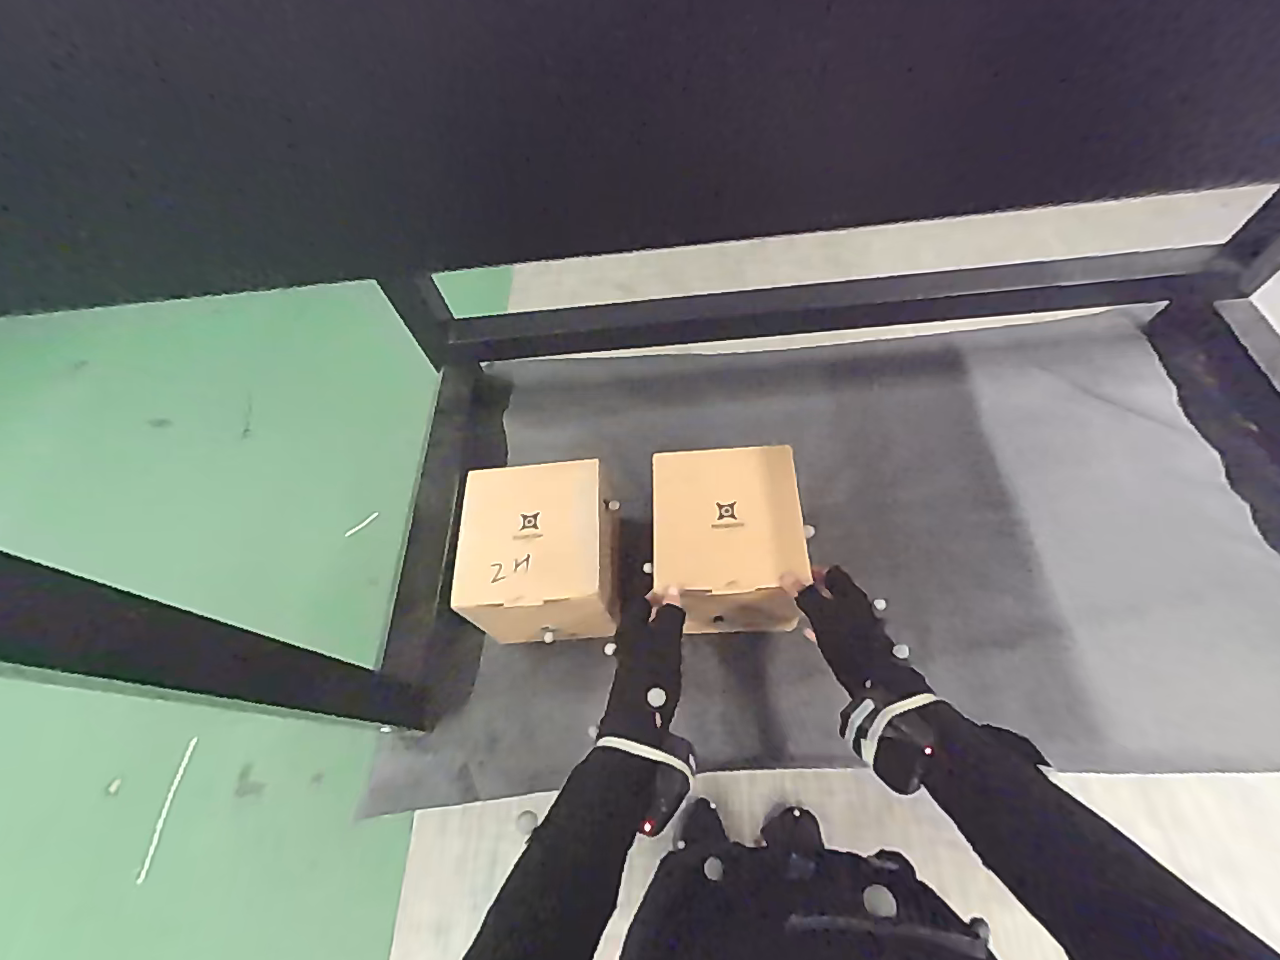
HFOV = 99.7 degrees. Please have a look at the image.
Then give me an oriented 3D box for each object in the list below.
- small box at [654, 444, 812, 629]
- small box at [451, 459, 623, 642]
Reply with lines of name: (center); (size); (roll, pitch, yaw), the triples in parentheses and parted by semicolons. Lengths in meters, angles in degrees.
small box: (0.105, 0.076, 0.669); (0.168, 0.176, 0.179); (-4, 61, 6)
small box: (-0.116, 0.095, 0.687); (0.168, 0.176, 0.179); (-5, 60, 6)
